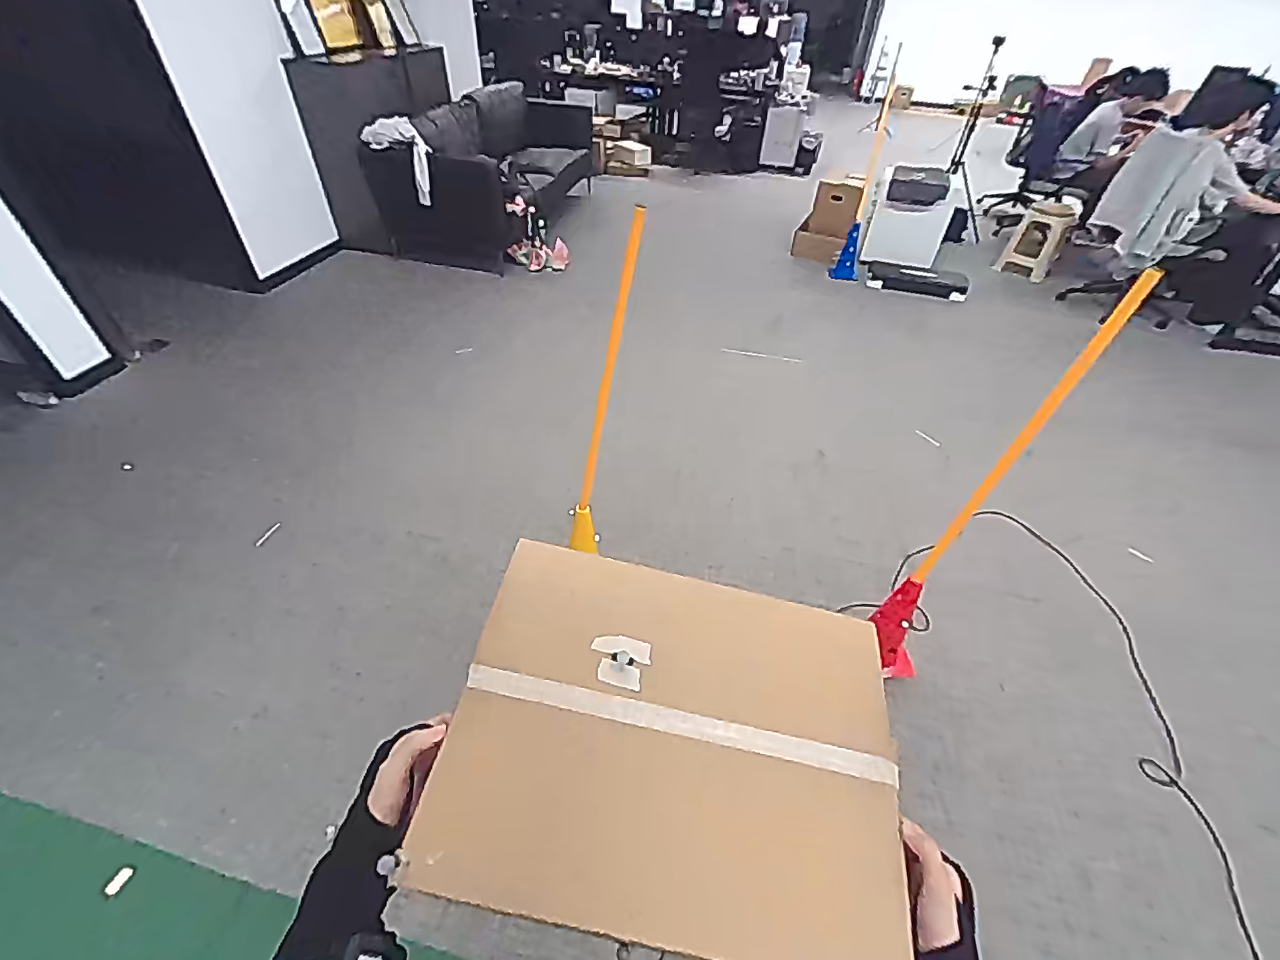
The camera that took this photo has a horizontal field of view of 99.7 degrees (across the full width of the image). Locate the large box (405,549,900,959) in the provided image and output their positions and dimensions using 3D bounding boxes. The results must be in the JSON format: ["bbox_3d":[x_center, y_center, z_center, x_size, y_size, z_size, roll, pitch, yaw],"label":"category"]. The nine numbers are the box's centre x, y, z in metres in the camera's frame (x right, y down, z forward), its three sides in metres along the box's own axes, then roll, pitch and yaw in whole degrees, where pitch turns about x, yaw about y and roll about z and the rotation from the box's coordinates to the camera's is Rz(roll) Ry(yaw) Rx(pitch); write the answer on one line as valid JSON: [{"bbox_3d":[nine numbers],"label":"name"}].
[{"bbox_3d":[0.017,0.322,0.627,0.408,0.320,0.320,13,51,0],"label":"large box"}]
